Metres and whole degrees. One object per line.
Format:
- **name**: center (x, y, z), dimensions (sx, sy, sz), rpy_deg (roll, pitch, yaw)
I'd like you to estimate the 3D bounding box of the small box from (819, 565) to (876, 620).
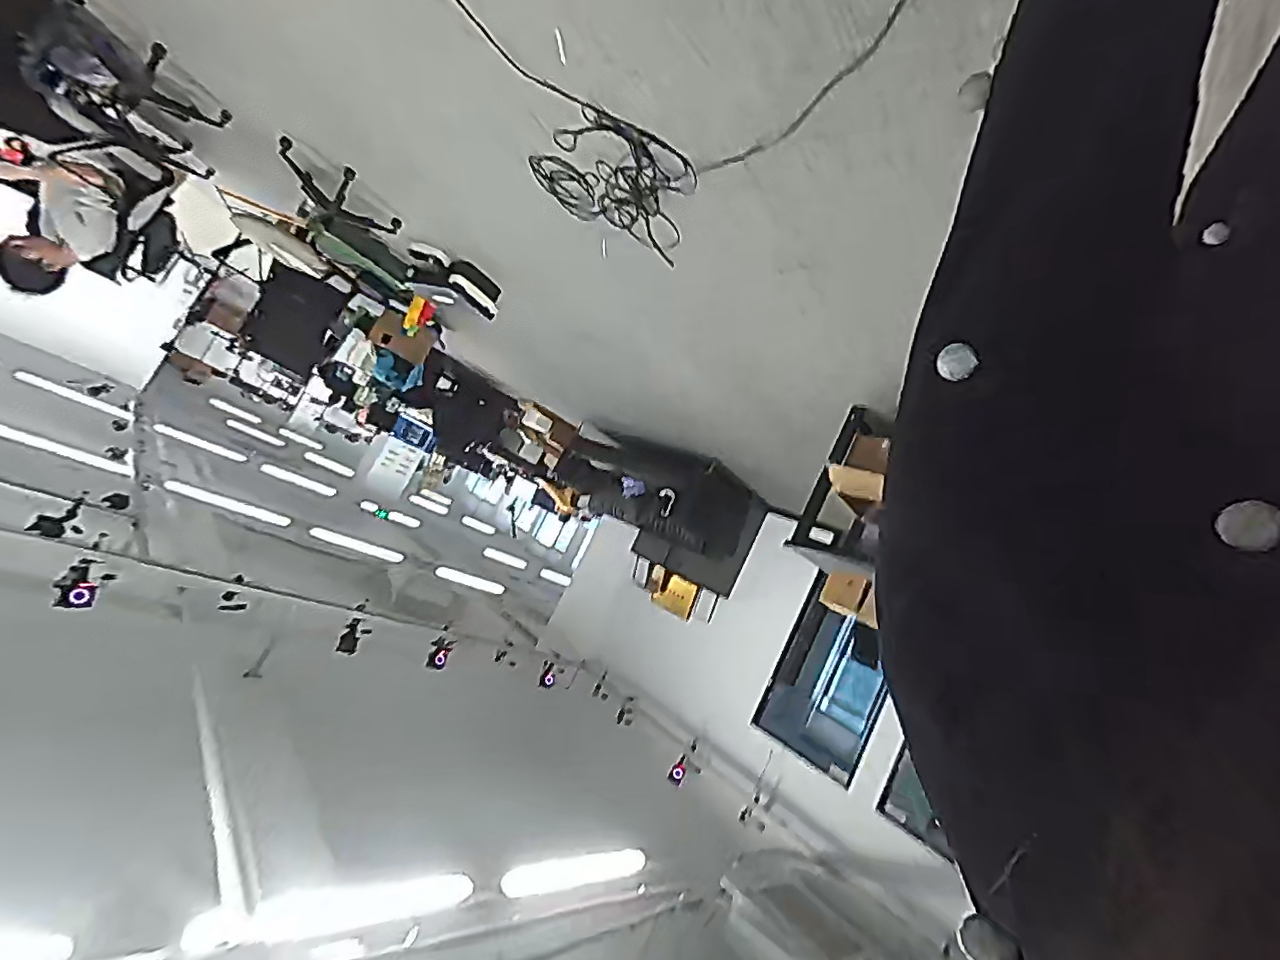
- **small box**: center (0.945, 0.507, 2.448), dimensions (0.168, 0.176, 0.179), rpy_deg (20, 170, 44)
